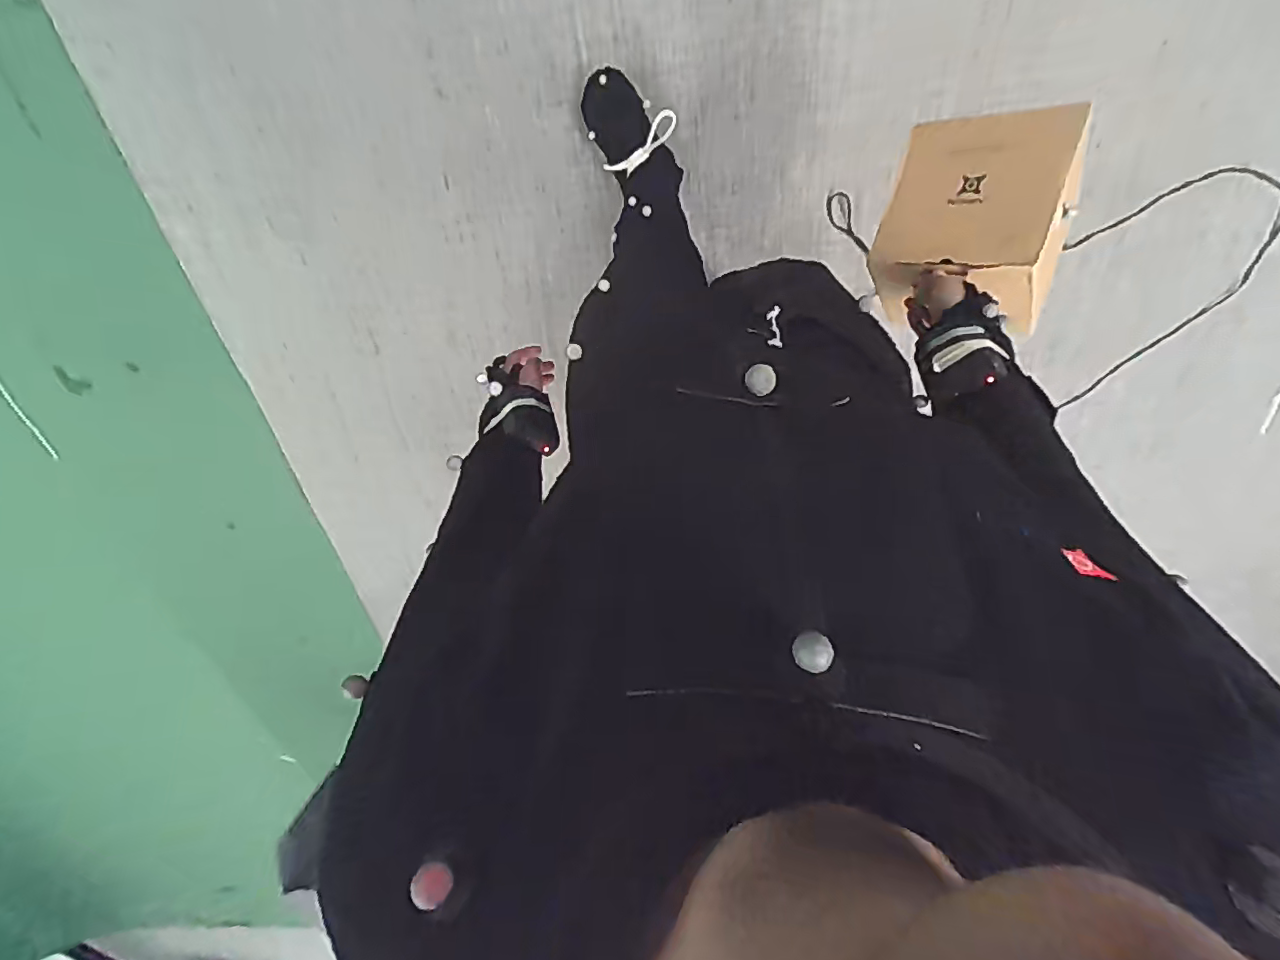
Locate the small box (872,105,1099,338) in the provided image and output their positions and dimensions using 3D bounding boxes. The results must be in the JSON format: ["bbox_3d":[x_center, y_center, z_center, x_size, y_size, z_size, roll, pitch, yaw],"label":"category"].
[{"bbox_3d":[0.393,-0.284,0.628,0.168,0.176,0.179,19,87,34],"label":"small box"}]
